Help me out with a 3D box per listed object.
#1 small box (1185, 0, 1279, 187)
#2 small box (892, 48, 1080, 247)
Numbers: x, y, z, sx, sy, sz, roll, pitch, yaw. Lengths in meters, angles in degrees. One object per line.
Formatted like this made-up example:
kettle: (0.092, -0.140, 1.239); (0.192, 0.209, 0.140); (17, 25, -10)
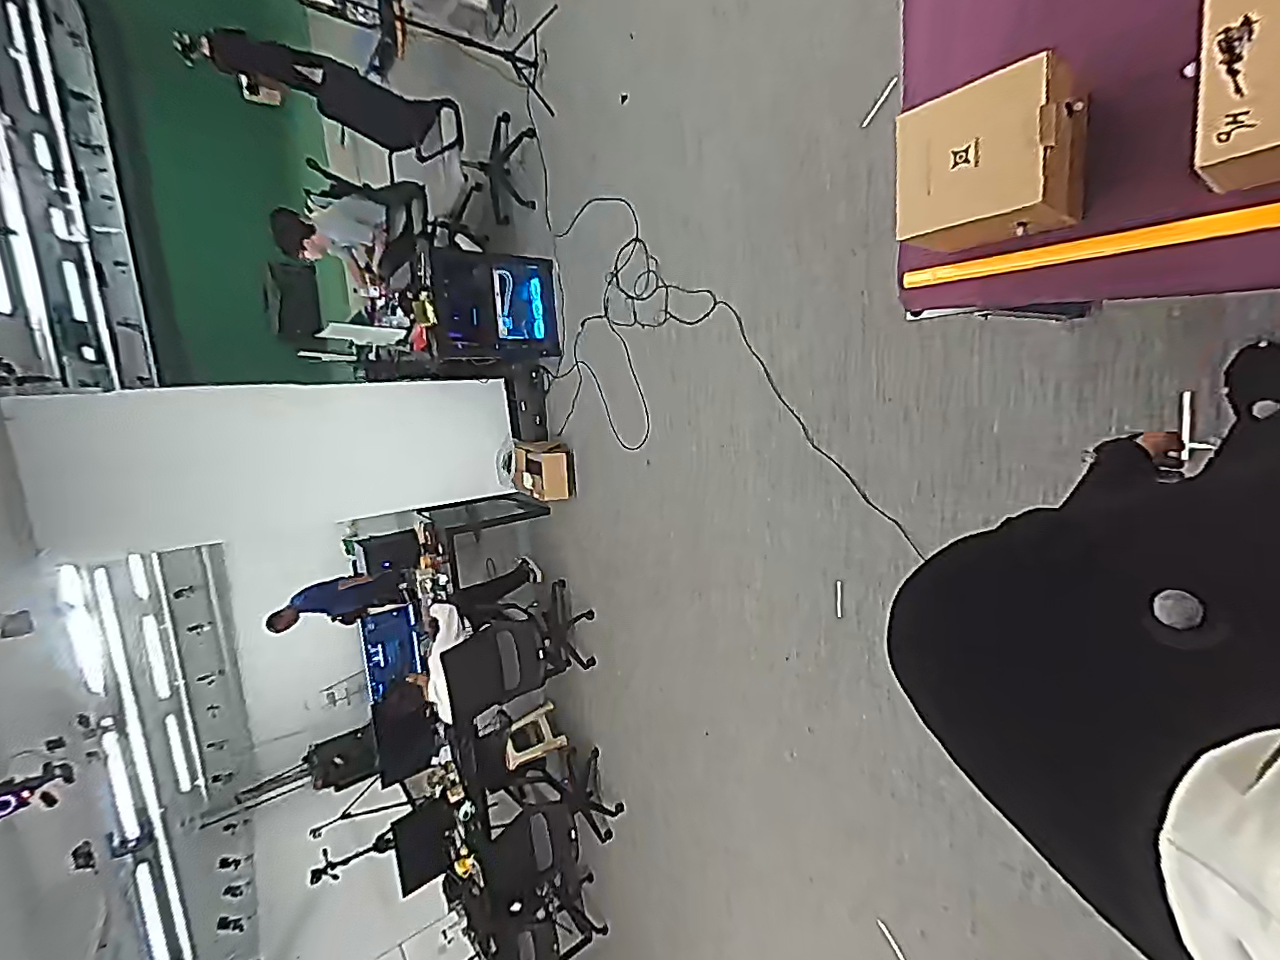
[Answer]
small box: (0.649, -0.396, 0.501); (0.179, 0.176, 0.168); (7, 104, 52)
small box: (0.467, -0.428, 0.733); (0.179, 0.176, 0.168); (7, 104, 50)
